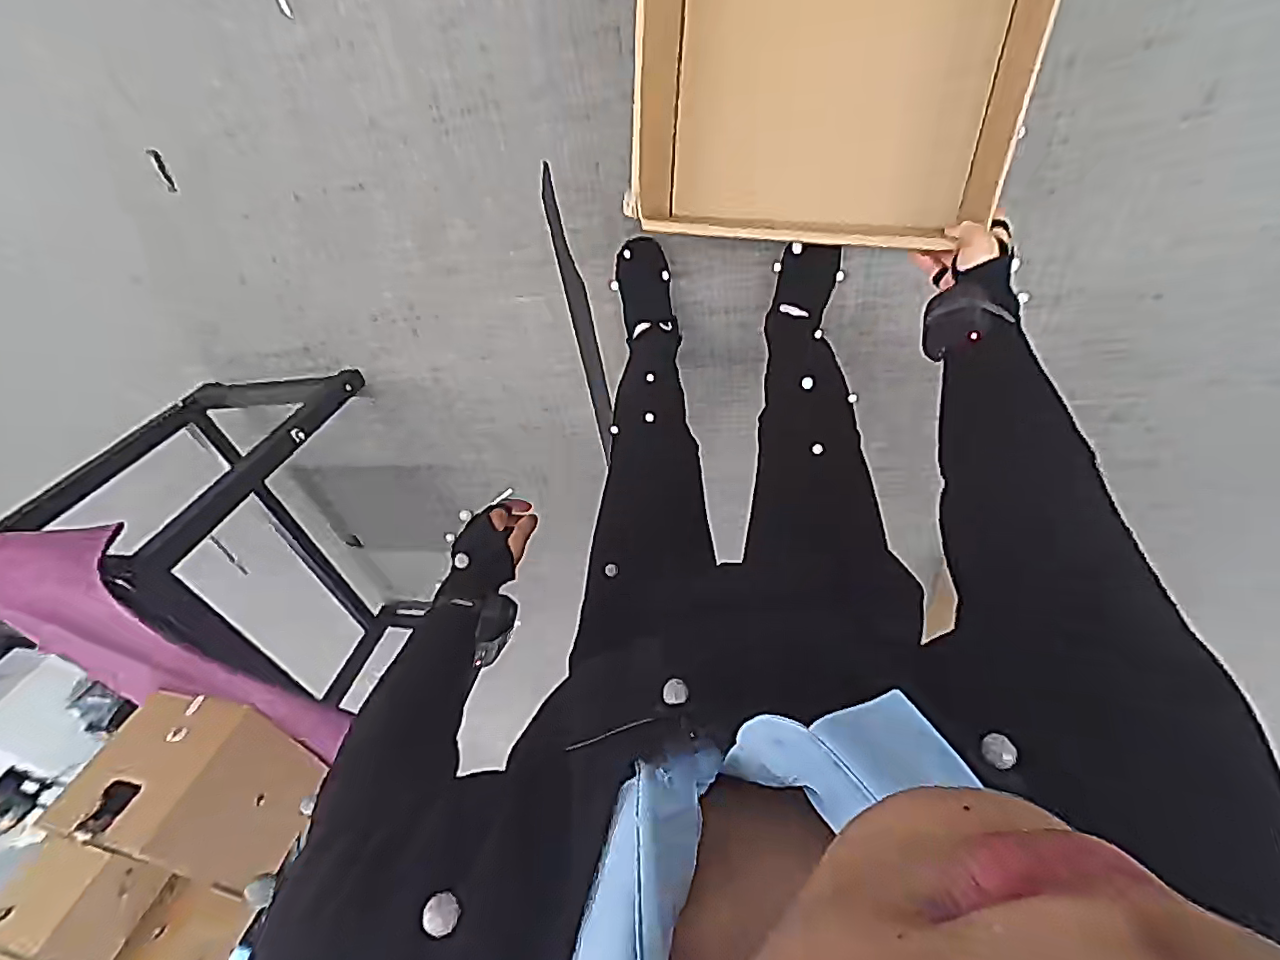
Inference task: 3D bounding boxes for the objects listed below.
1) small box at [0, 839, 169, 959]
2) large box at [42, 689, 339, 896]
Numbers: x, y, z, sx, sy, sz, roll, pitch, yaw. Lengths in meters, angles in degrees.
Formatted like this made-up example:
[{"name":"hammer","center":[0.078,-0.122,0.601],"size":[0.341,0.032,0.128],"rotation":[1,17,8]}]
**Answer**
[{"name":"small box","center":[-1.115,0.841,1.077],"size":[0.179,0.176,0.168],"rotation":[2,134,15]},{"name":"large box","center":[-1.048,0.759,1.326],"size":[0.320,0.320,0.408],"rotation":[3,134,16]}]
